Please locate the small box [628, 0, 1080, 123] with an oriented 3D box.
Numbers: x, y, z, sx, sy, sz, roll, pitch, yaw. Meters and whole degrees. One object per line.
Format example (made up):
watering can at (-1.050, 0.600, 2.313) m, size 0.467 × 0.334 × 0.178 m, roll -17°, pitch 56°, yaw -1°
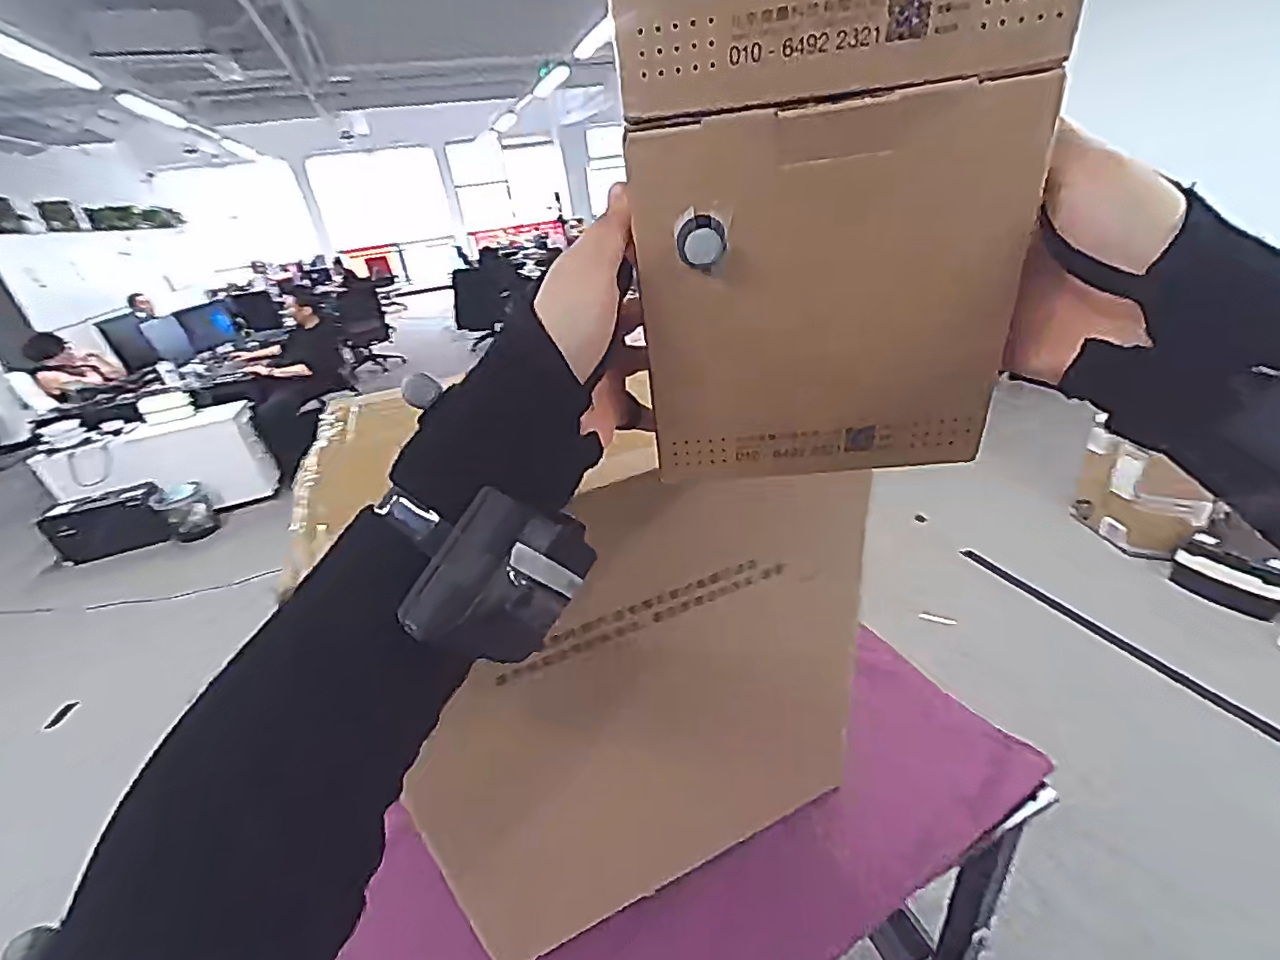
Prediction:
small box at (0.074, -0.263, 0.228) m, size 0.168 × 0.176 × 0.179 m, roll -4°, pitch 32°, yaw 5°
